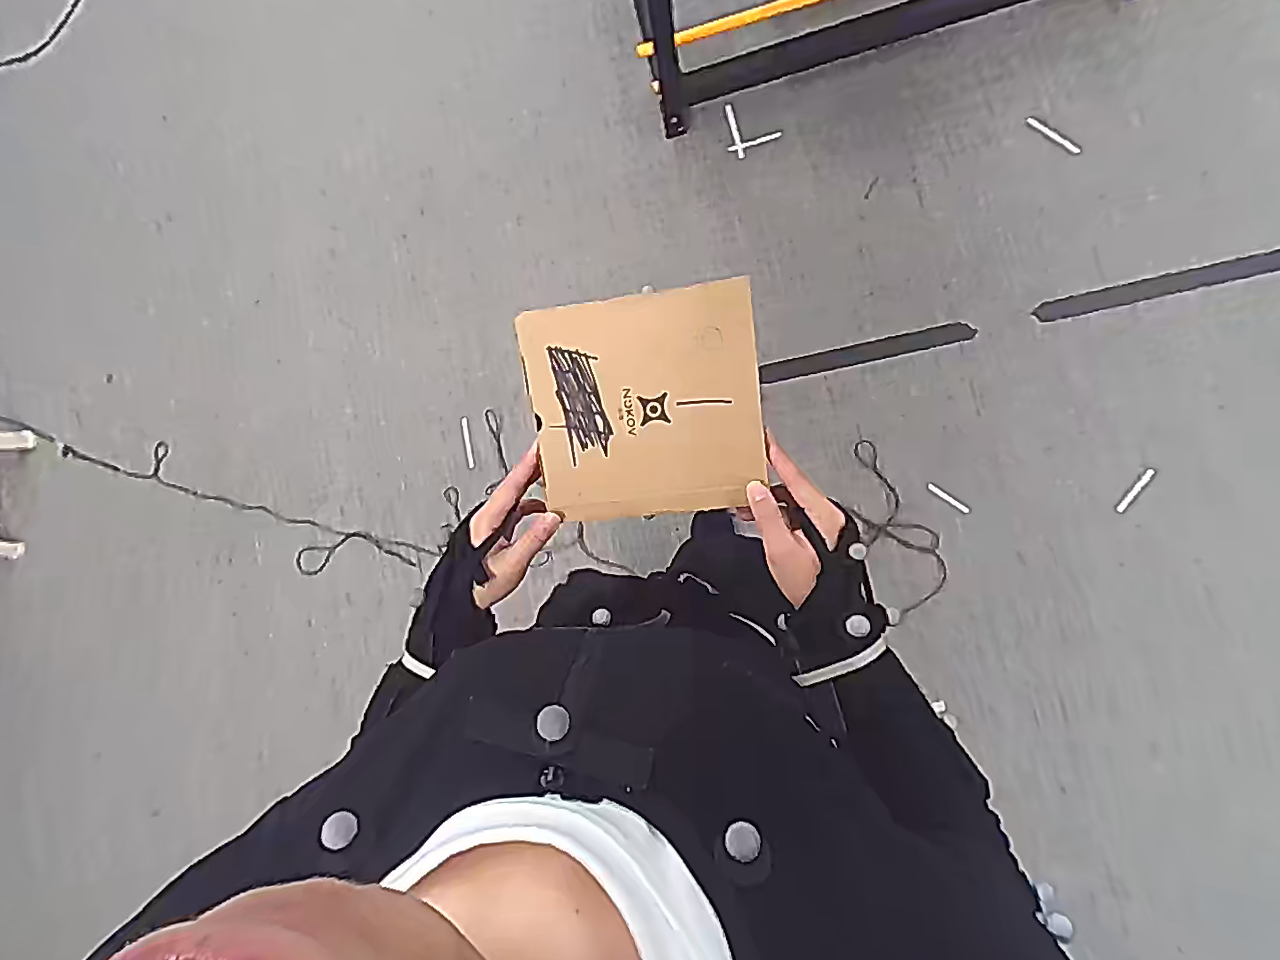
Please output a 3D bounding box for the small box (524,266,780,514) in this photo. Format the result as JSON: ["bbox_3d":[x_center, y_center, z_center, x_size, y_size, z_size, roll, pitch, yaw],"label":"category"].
[{"bbox_3d":[0.020,-0.075,0.471,0.179,0.176,0.168,-6,102,9],"label":"small box"}]

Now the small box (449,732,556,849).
[{"bbox_3d":[-0.325,0.740,1.303,0.179,0.176,0.168,-19,84,6],"label":"small box"}]
